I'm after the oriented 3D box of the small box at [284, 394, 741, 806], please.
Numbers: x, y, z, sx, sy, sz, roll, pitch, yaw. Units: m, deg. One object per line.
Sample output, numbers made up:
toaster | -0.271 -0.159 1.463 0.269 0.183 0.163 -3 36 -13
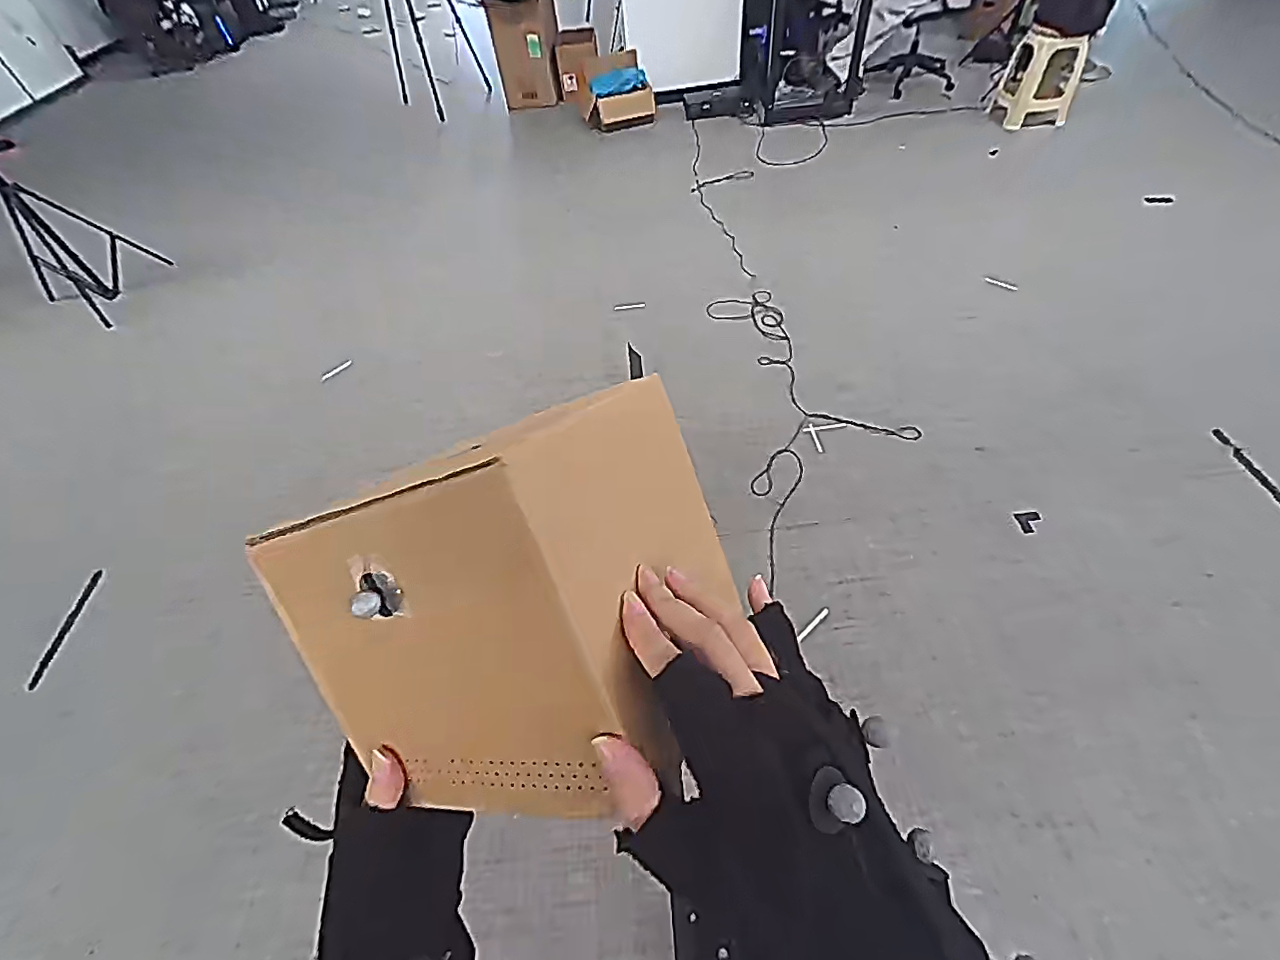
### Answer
small box | -0.058 0.066 0.330 0.179 0.176 0.168 -14 14 26
